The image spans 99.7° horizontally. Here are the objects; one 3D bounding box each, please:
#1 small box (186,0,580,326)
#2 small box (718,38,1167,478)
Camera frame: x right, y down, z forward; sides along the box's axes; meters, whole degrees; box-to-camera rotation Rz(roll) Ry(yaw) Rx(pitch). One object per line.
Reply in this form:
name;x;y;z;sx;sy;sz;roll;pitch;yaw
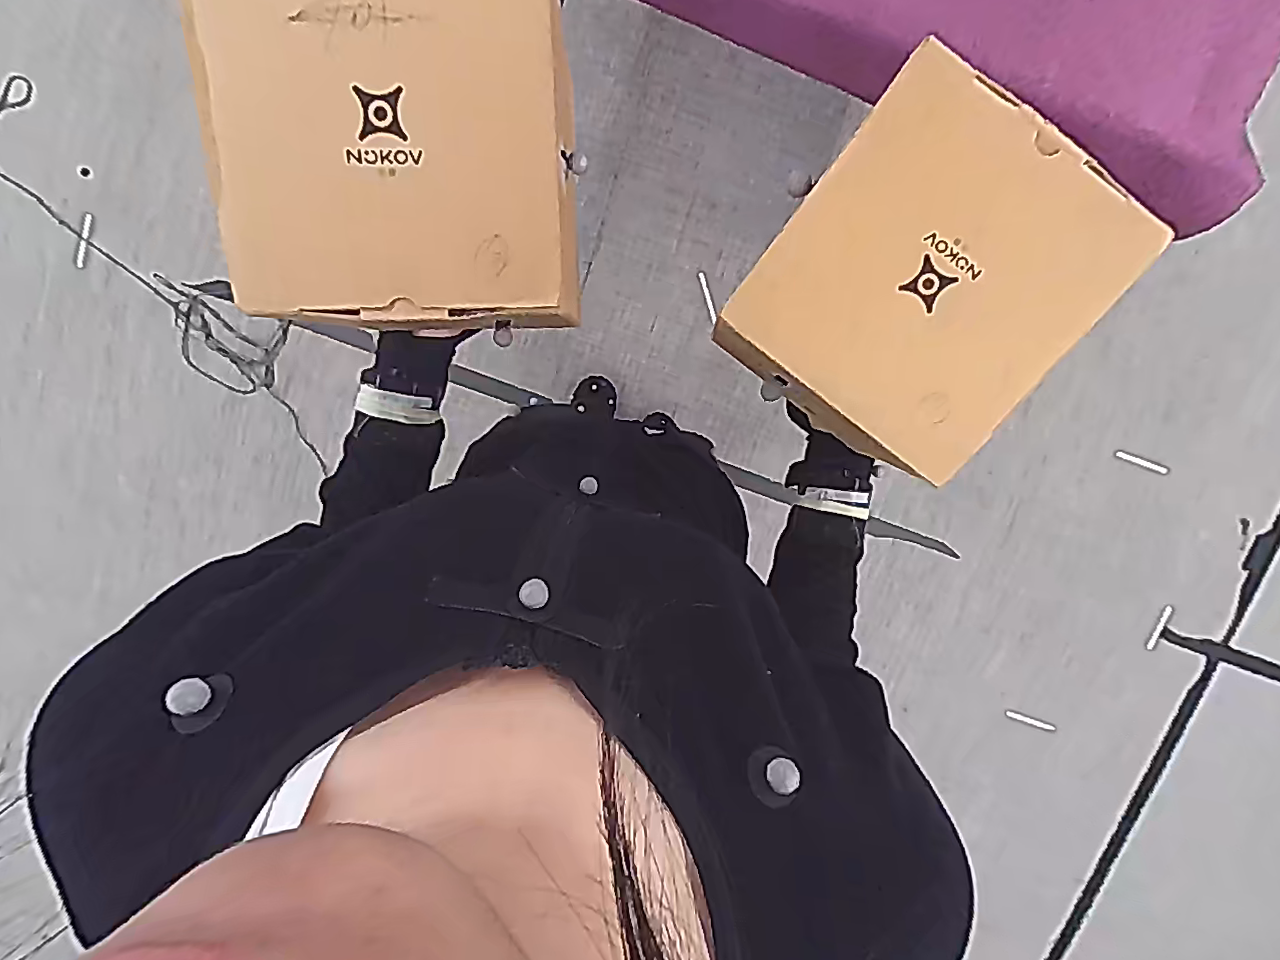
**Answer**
small box;-0.126;-0.189;0.336;0.168;0.176;0.179;-3;102;-4
small box;0.169;-0.126;0.374;0.168;0.176;0.179;36;99;-1
